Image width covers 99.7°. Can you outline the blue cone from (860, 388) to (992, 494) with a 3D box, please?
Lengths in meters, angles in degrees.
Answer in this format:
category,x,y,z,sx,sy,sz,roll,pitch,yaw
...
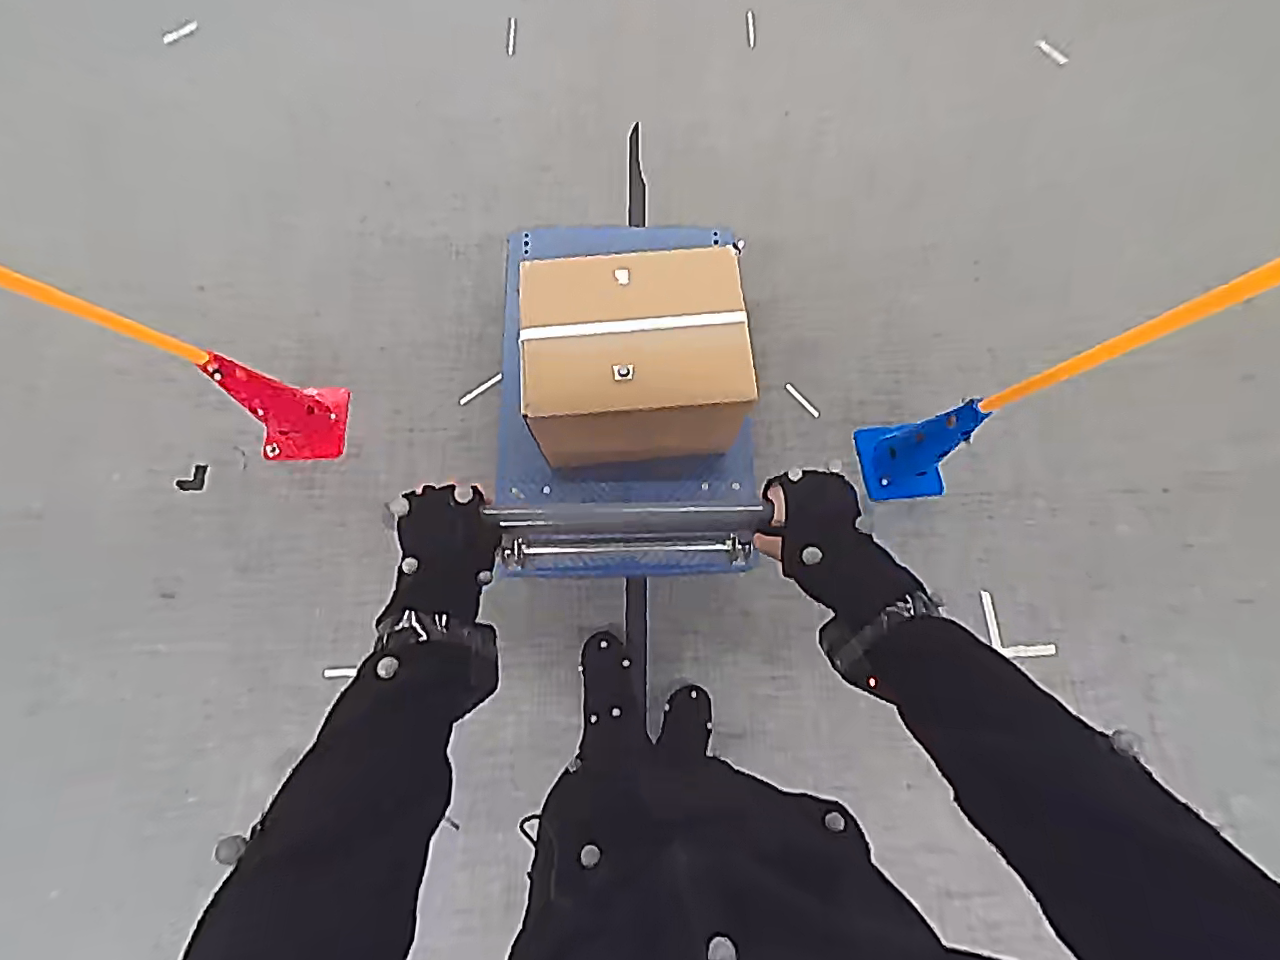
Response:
category,x,y,z,sx,sy,sz,roll,pitch,yaw
blue cone,0.681,-0.104,1.246,0.193,0.380,0.192,-4,74,-2
